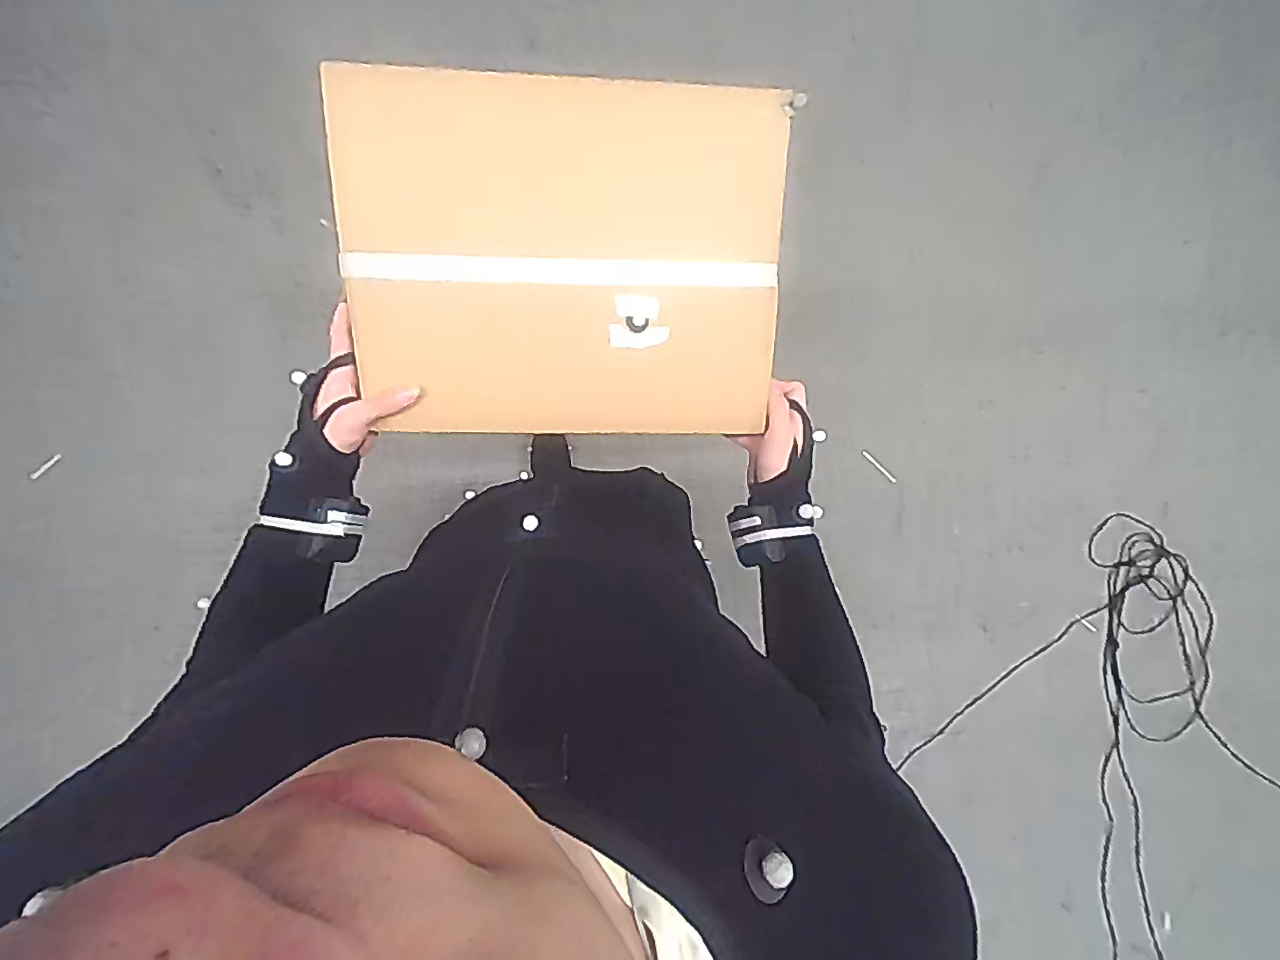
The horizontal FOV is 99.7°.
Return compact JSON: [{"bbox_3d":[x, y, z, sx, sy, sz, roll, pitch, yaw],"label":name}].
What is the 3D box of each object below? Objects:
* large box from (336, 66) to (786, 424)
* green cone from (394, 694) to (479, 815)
[{"bbox_3d":[-0.079,-0.249,0.659,0.408,0.320,0.320,-1,107,-5],"label":"large box"},{"bbox_3d":[-0.571,0.746,1.435,0.200,0.368,0.202,4,93,-5],"label":"green cone"}]
